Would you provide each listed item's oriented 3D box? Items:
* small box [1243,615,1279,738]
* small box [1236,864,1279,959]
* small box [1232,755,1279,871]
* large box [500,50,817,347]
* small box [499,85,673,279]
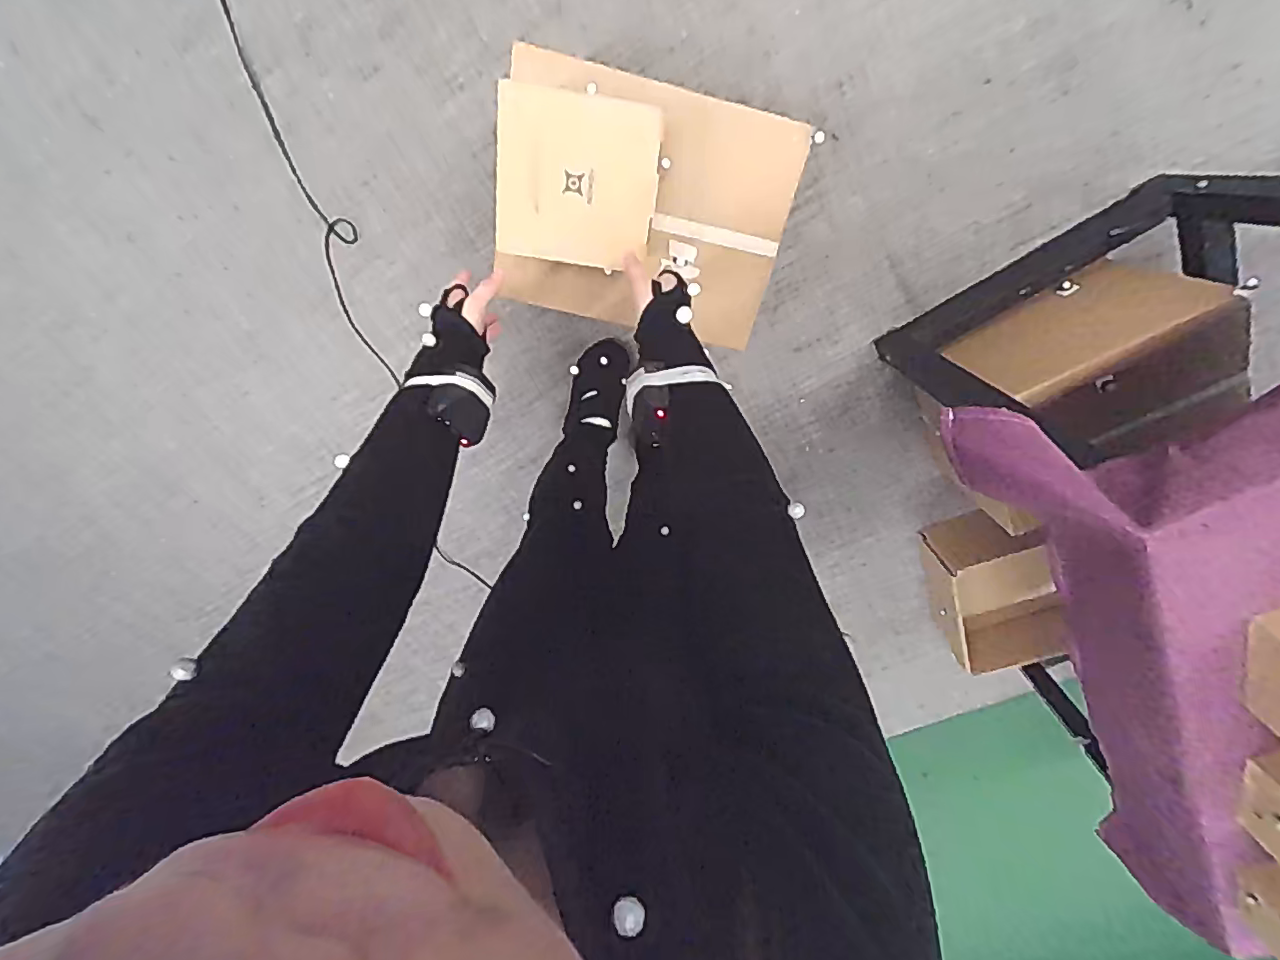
[{"bbox_3d":[0.765,0.225,0.534,0.168,0.176,0.179,-26,117,14],"label":"small box"},{"bbox_3d":[1.062,0.692,0.810,0.179,0.176,0.168,-26,117,13],"label":"small box"},{"bbox_3d":[0.914,0.446,0.667,0.179,0.176,0.168,-21,118,12],"label":"small box"},{"bbox_3d":[0.006,-0.446,0.894,0.408,0.320,0.320,10,120,-8],"label":"large box"},{"bbox_3d":[-0.065,-0.356,0.660,0.179,0.176,0.168,8,118,-5],"label":"small box"}]
